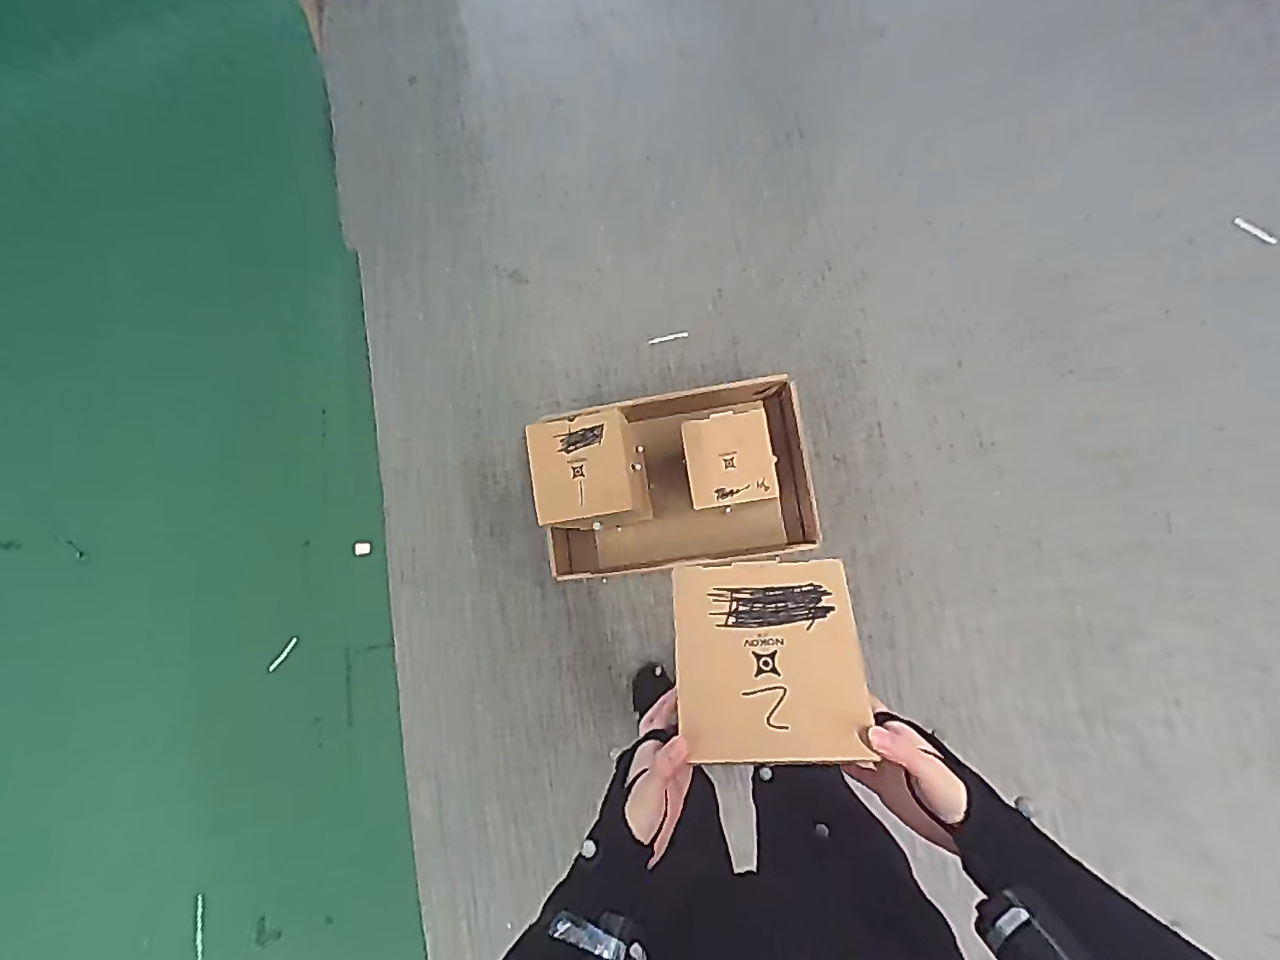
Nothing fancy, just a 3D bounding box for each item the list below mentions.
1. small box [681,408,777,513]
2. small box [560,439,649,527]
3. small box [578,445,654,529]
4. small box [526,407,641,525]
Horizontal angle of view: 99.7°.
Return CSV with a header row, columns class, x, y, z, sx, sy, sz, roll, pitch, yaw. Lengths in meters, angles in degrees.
class,x,y,z,sx,sy,sz,roll,pitch,yaw
small box,0.181,-0.033,1.110,0.168,0.176,0.179,-9,82,9
small box,-0.079,0.003,1.143,0.168,0.176,0.179,-9,82,6
small box,-0.062,0.021,1.302,0.168,0.176,0.179,-8,82,6
small box,-0.096,-0.017,0.981,0.168,0.176,0.179,-9,83,6
